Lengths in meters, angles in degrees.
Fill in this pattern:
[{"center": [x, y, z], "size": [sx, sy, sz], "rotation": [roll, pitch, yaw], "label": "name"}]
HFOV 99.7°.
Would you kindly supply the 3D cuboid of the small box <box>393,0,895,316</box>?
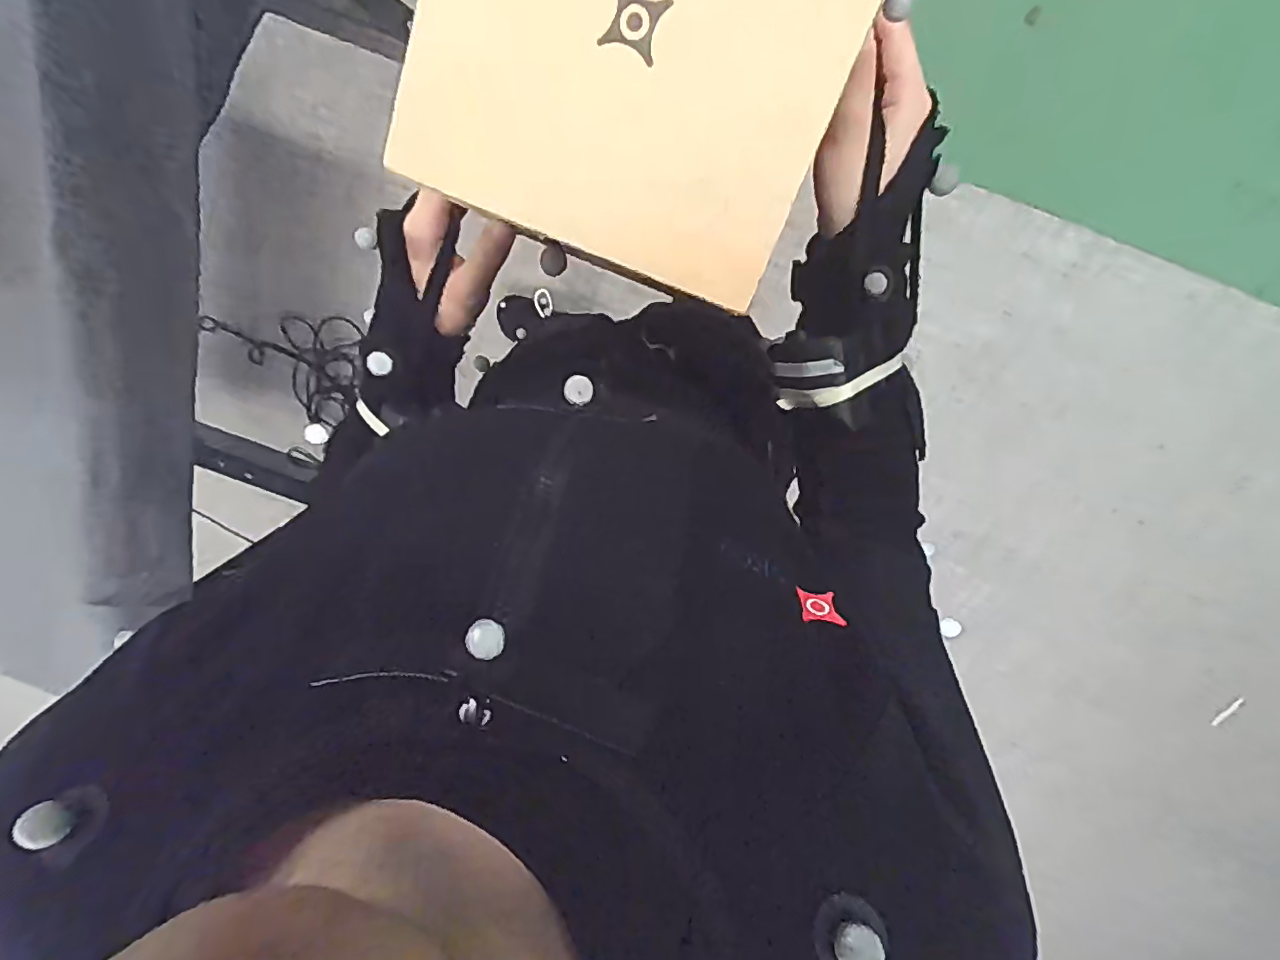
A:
[{"center": [0.012, -0.194, 0.273], "size": [0.168, 0.176, 0.179], "rotation": [22, 106, -1], "label": "small box"}]
